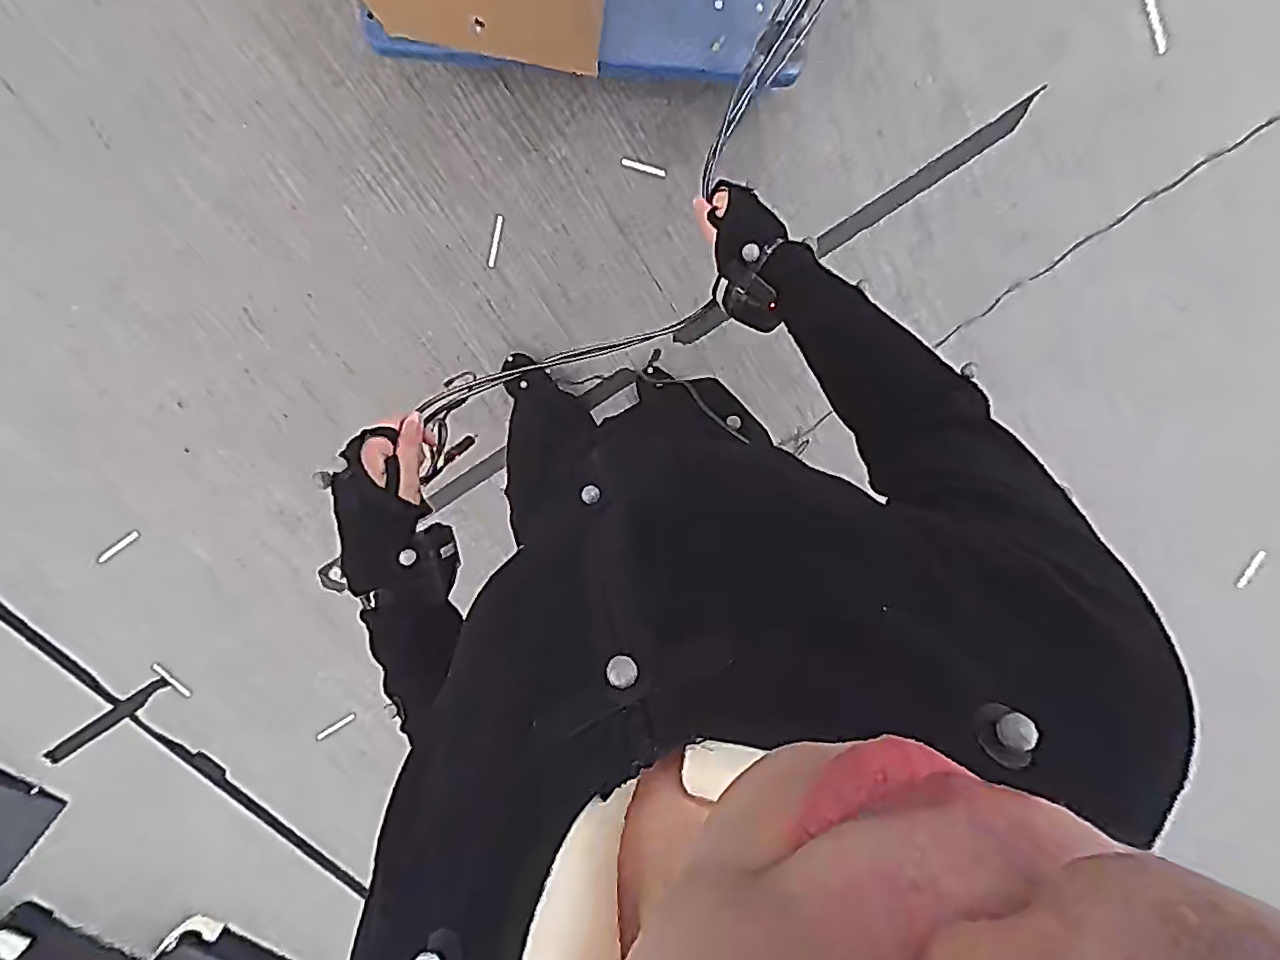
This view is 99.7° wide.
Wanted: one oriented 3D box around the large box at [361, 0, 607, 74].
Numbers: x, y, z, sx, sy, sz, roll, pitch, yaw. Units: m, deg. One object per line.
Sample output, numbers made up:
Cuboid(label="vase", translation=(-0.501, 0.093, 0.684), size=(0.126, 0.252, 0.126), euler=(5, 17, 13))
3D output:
Cuboid(label="large box", translation=(-0.250, -0.915, 0.866), size=(0.408, 0.320, 0.320), euler=(7, 106, -5))
